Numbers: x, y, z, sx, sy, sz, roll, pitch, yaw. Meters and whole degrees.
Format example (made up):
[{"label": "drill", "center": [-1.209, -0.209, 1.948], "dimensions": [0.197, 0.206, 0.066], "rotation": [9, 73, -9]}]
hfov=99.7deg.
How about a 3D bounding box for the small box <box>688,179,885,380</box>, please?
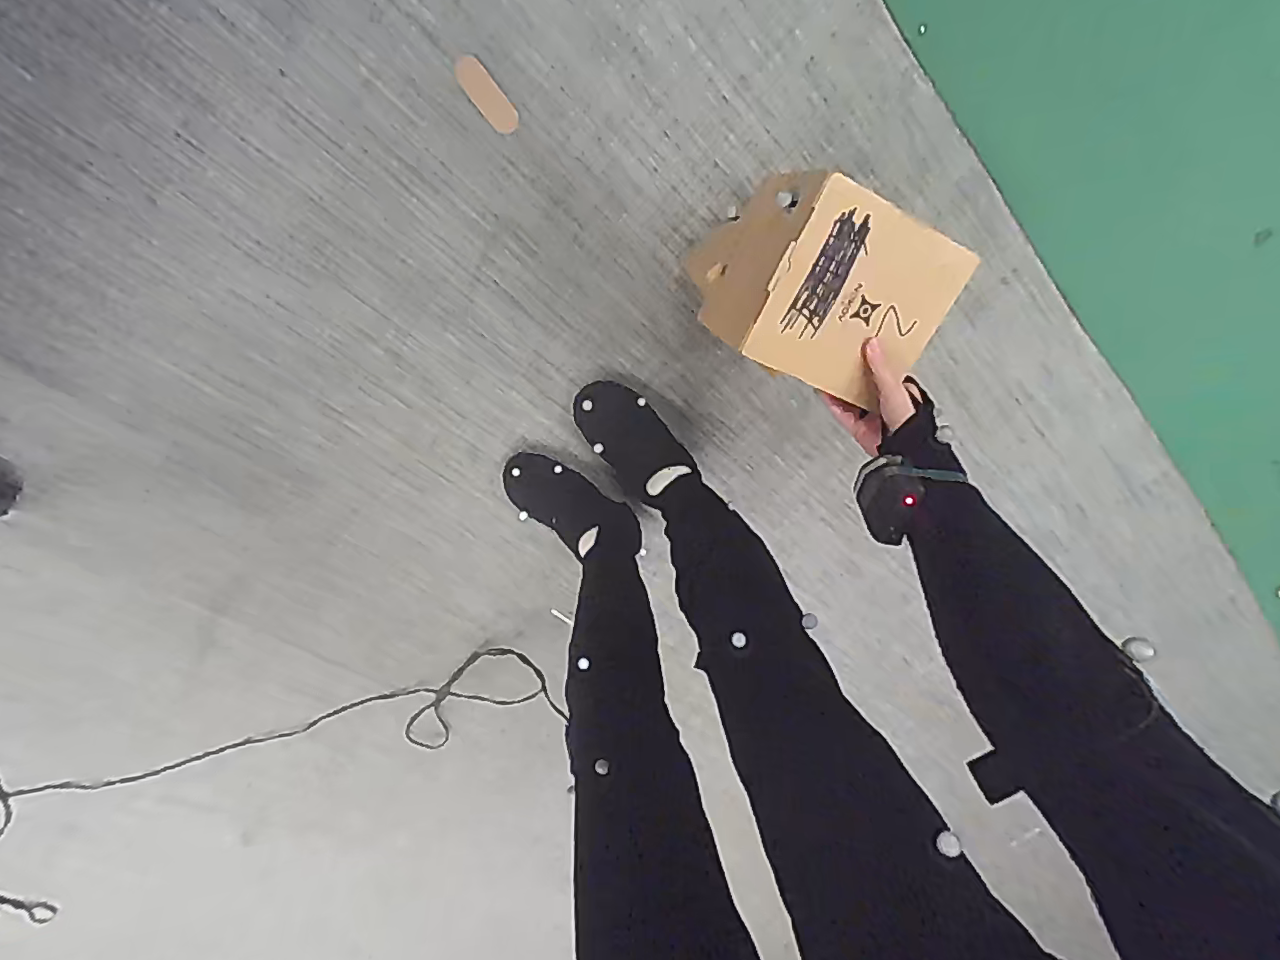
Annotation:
[{"label": "small box", "center": [0.179, -0.268, 0.718], "dimensions": [0.179, 0.176, 0.168], "rotation": [-36, 118, 11]}]
